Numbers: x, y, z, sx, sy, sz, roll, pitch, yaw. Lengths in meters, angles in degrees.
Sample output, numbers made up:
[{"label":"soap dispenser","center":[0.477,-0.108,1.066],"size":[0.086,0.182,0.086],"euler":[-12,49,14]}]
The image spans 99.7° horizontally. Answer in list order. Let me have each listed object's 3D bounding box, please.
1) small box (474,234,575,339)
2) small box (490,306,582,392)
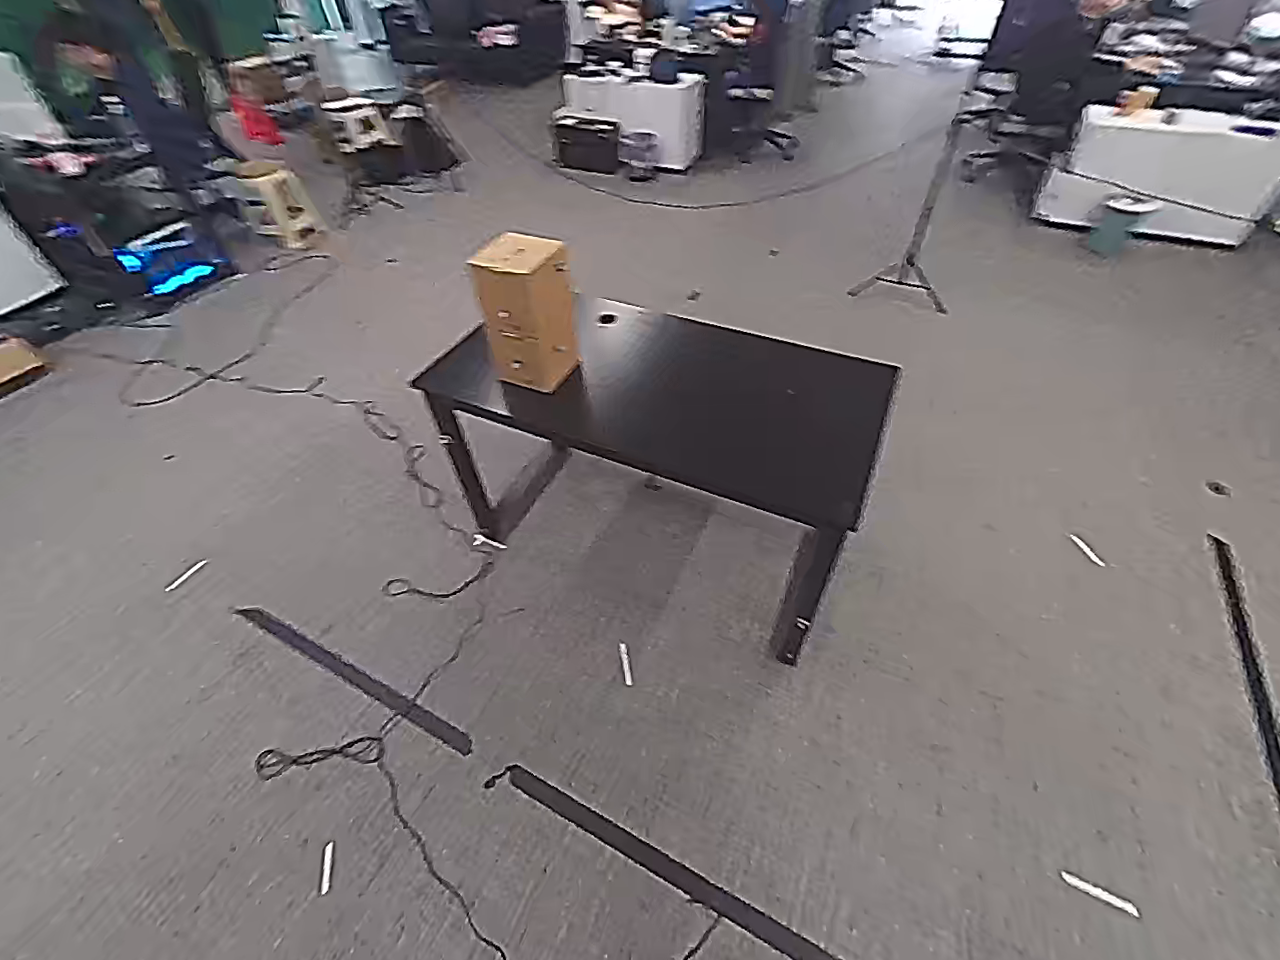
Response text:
[{"label":"small box","center":[-0.272,-0.474,1.325],"size":[0.168,0.176,0.179],"euler":[18,51,19]},{"label":"small box","center":[-0.267,-0.362,1.446],"size":[0.168,0.176,0.179],"euler":[18,51,17]}]
